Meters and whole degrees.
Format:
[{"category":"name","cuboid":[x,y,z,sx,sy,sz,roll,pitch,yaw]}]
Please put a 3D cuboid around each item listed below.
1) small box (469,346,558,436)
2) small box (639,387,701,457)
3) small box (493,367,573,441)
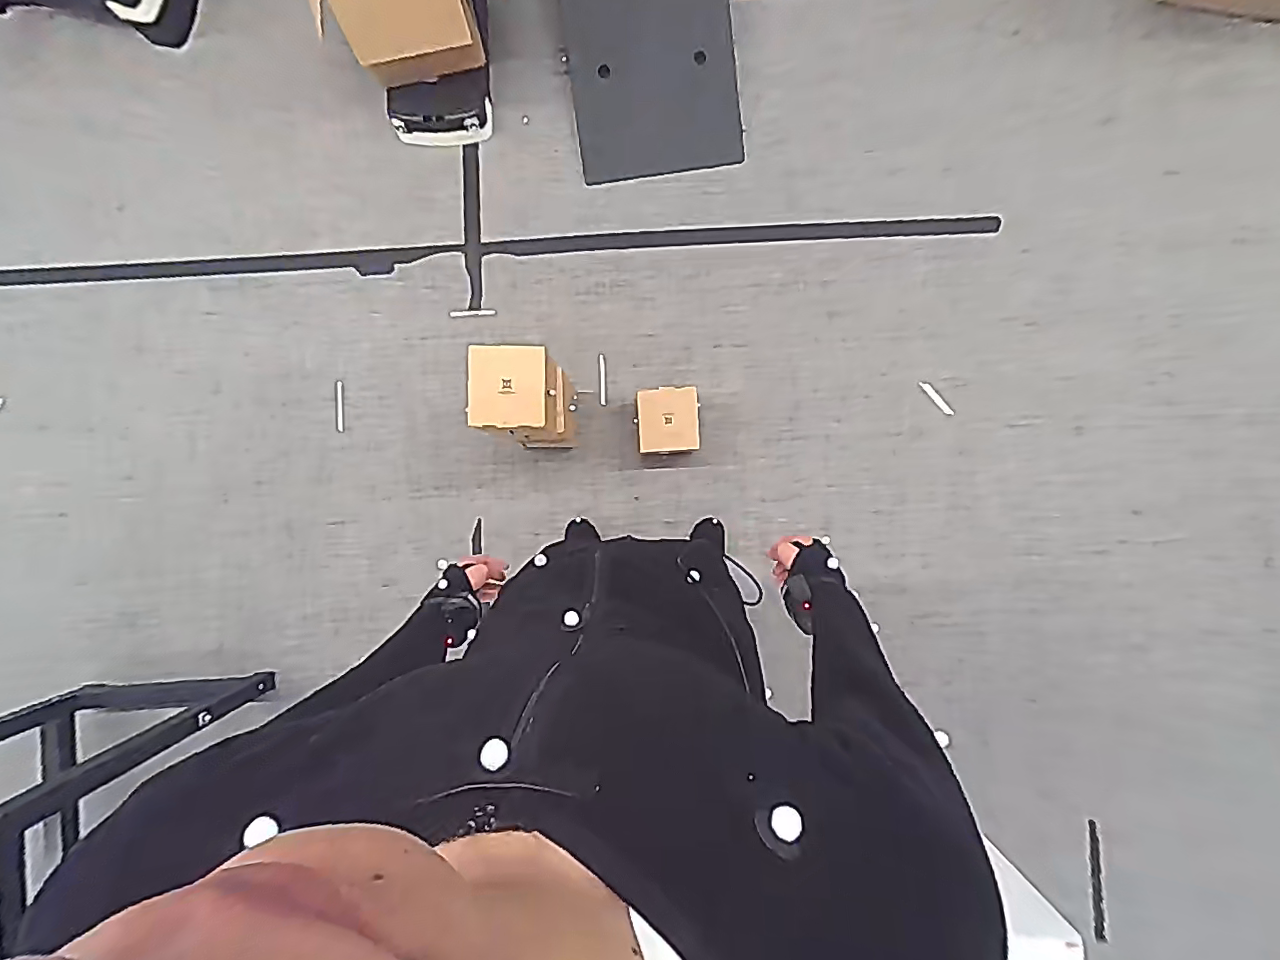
[{"category":"small box","cuboid":[-0.280,-0.196,1.222,0.168,0.176,0.179,0,90,0]},{"category":"small box","cuboid":[0.082,-0.162,1.551,0.168,0.176,0.179,-4,91,1]},{"category":"small box","cuboid":[-0.271,-0.189,1.385,0.179,0.176,0.168,-2,90,-1]}]
